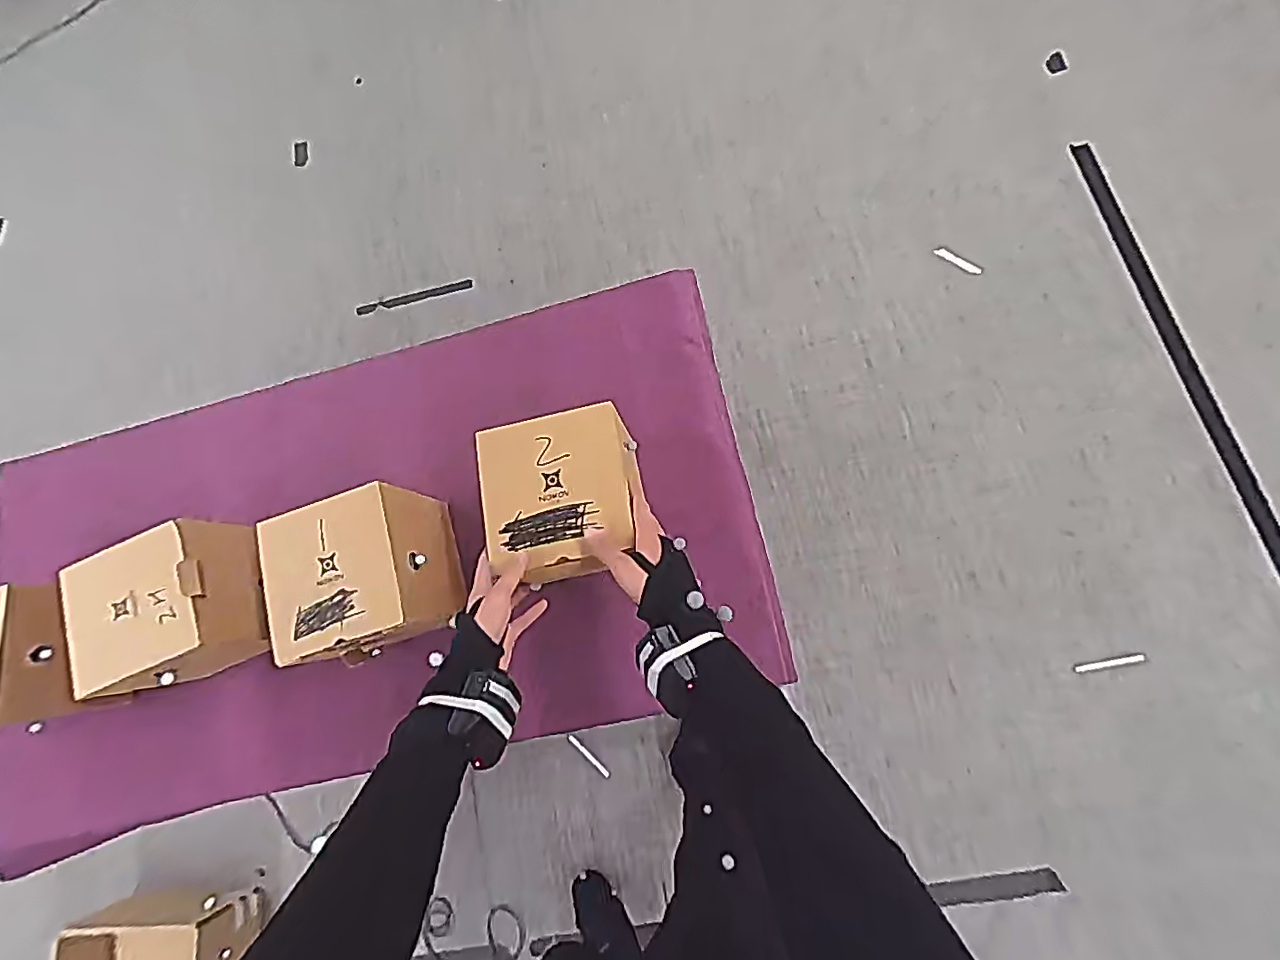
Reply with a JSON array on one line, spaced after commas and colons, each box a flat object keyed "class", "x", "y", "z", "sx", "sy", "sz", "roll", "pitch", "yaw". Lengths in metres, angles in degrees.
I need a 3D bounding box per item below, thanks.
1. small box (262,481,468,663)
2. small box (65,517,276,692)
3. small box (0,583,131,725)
[{"class": "small box", "x": -0.346, "y": 0.121, "z": 0.706, "sx": 0.168, "sy": 0.176, "sz": 0.179, "roll": -18, "pitch": 76, "yaw": 4}, {"class": "small box", "x": -0.606, "y": 0.166, "z": 0.735, "sx": 0.179, "sy": 0.176, "sz": 0.168, "roll": -23, "pitch": 76, "yaw": 3}, {"class": "small box", "x": -0.855, "y": 0.241, "z": 0.757, "sx": 0.168, "sy": 0.176, "sz": 0.179, "roll": -9, "pitch": 77, "yaw": 6}]
